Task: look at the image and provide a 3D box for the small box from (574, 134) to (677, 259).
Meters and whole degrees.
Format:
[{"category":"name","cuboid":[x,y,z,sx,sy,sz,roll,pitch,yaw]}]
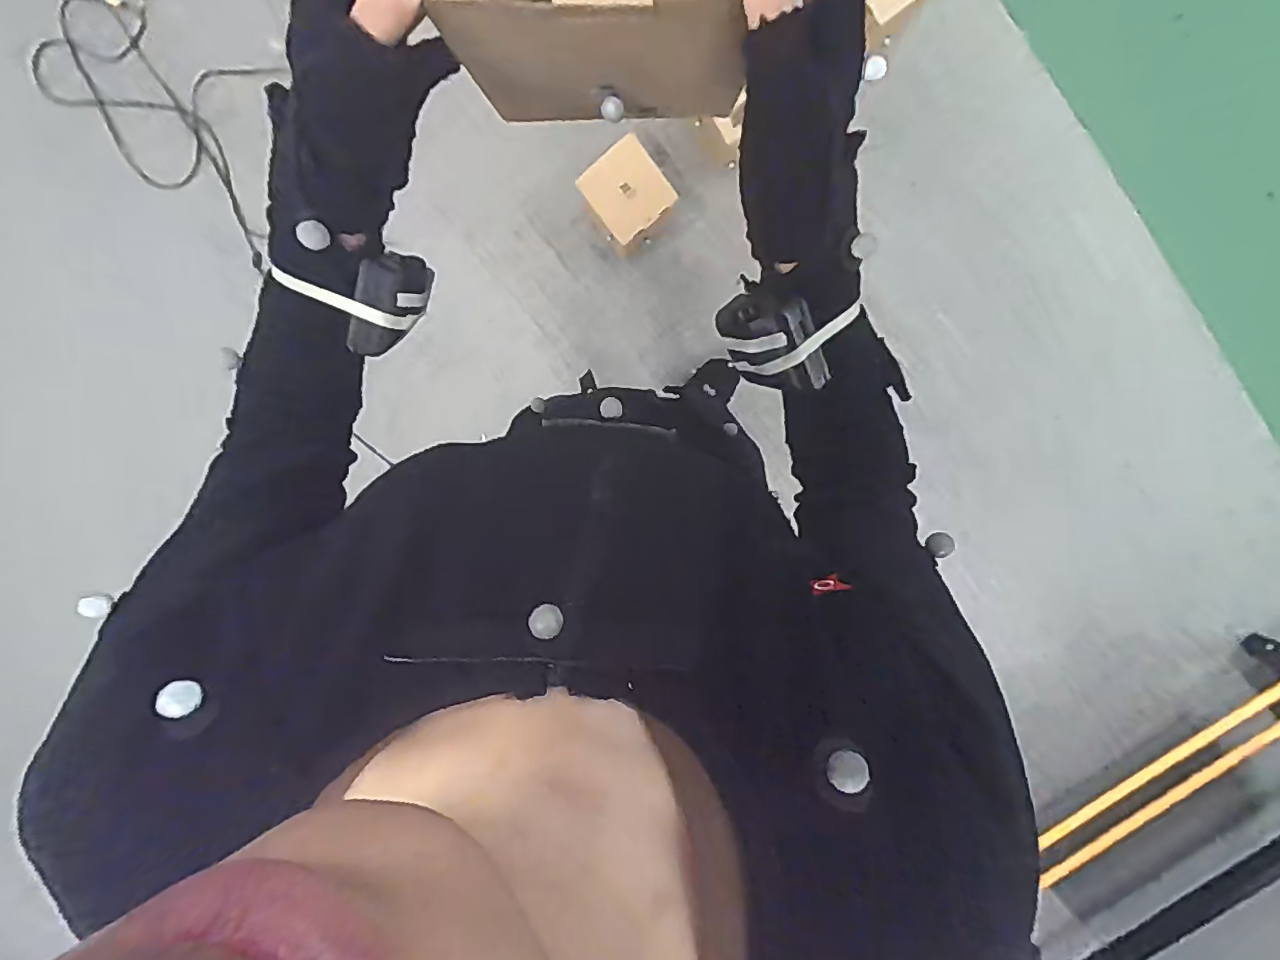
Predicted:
[{"category":"small box","cuboid":[-0.033,-0.653,1.270,0.168,0.176,0.179,-39,99,7]}]
